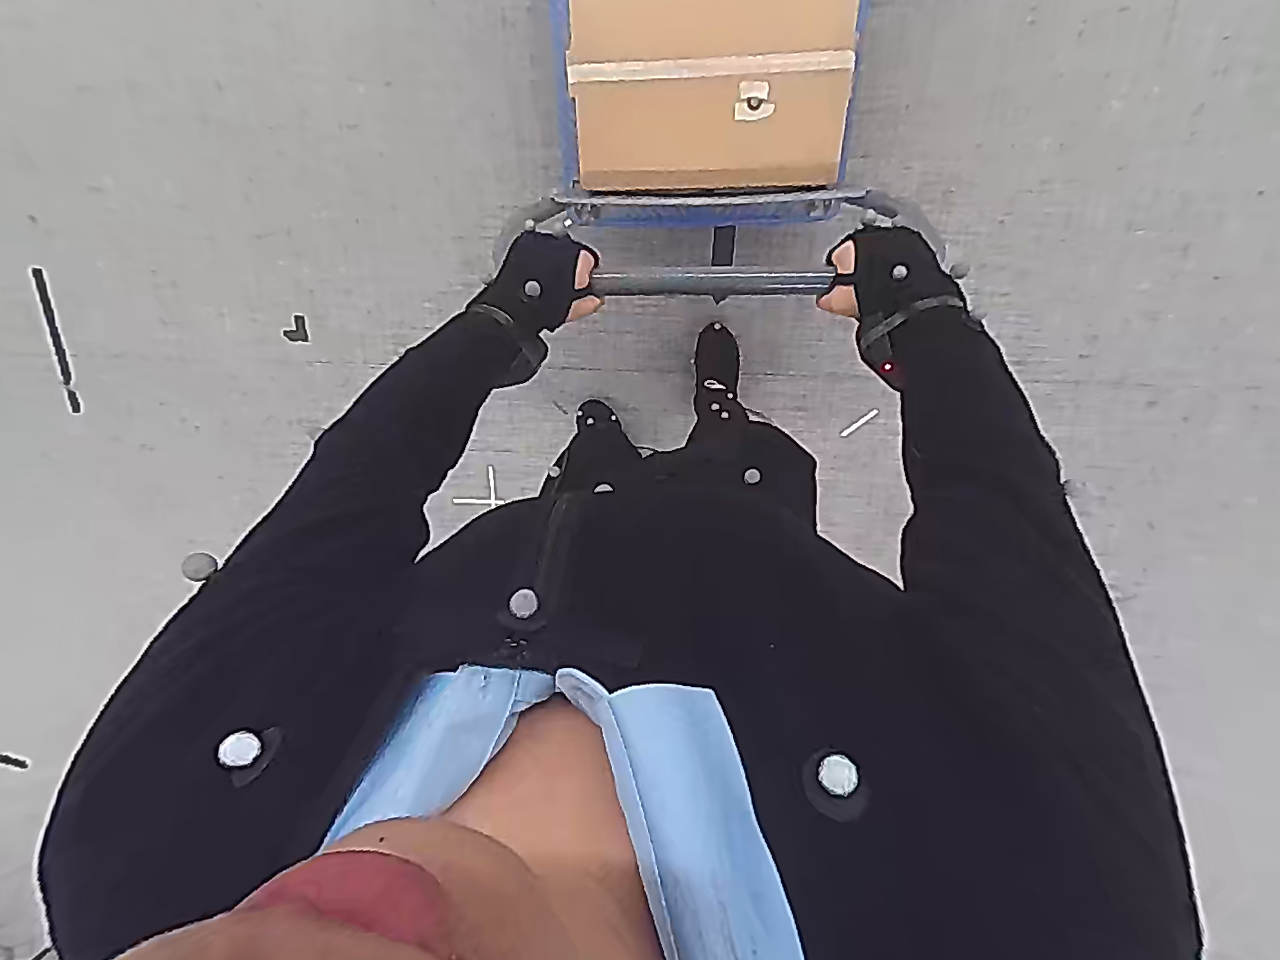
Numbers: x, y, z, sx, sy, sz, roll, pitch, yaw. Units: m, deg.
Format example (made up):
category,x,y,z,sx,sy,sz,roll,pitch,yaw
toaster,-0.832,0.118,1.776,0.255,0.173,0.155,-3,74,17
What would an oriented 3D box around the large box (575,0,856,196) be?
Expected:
category,x,y,z,sx,sy,sz,roll,pitch,yaw
large box,0.116,-0.676,0.935,0.408,0.320,0.320,0,118,4
